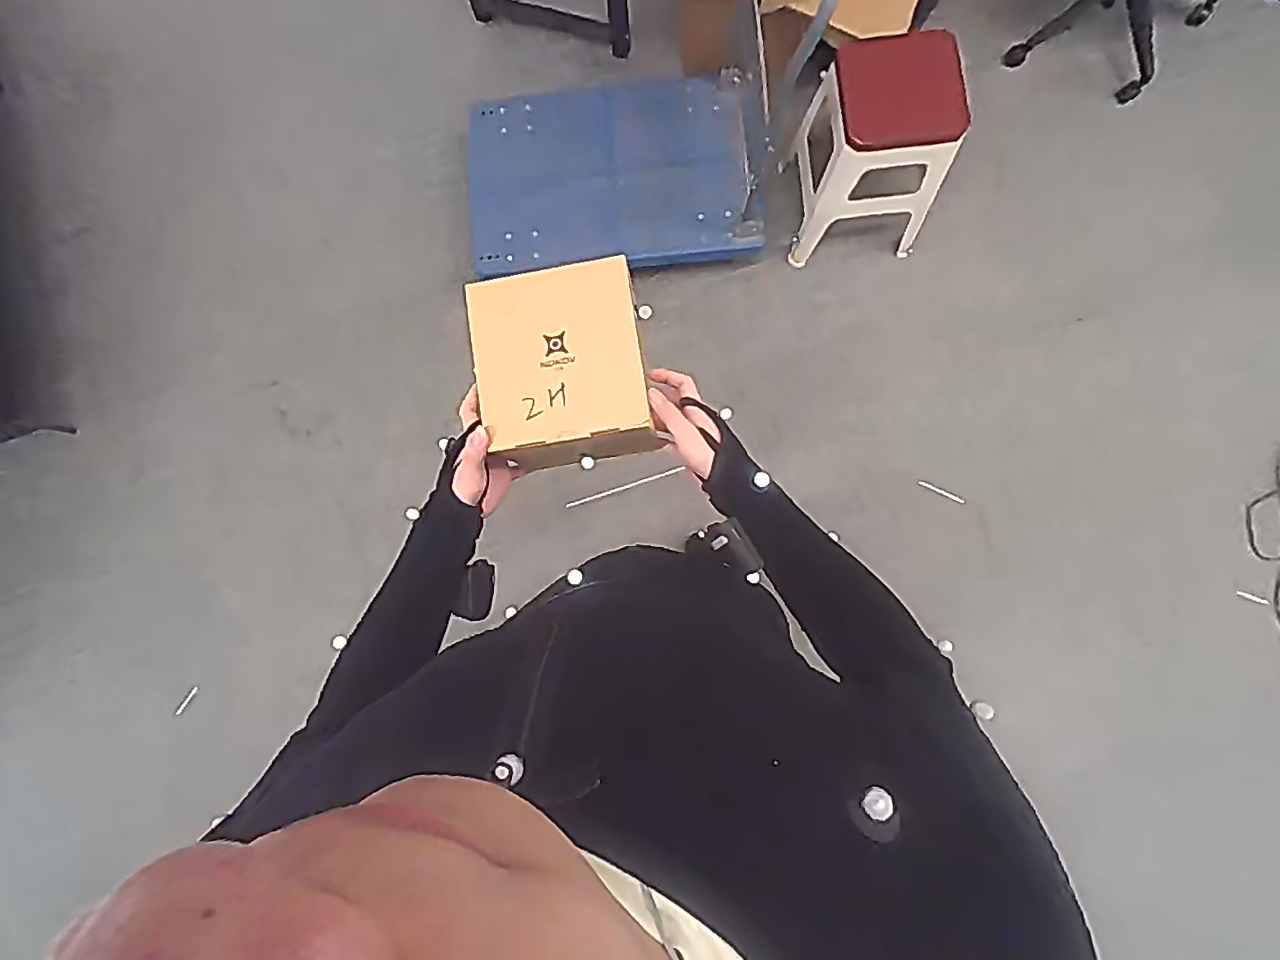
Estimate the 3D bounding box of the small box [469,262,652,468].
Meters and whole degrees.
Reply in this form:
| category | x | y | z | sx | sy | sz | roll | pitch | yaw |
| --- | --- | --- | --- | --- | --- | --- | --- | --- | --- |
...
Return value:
| category | x | y | z | sx | sy | sz | roll | pitch | yaw |
| --- | --- | --- | --- | --- | --- | --- | --- | --- | --- |
| small box | -0.080 | -0.118 | 0.620 | 0.168 | 0.176 | 0.179 | -9 | 85 | 3 |
